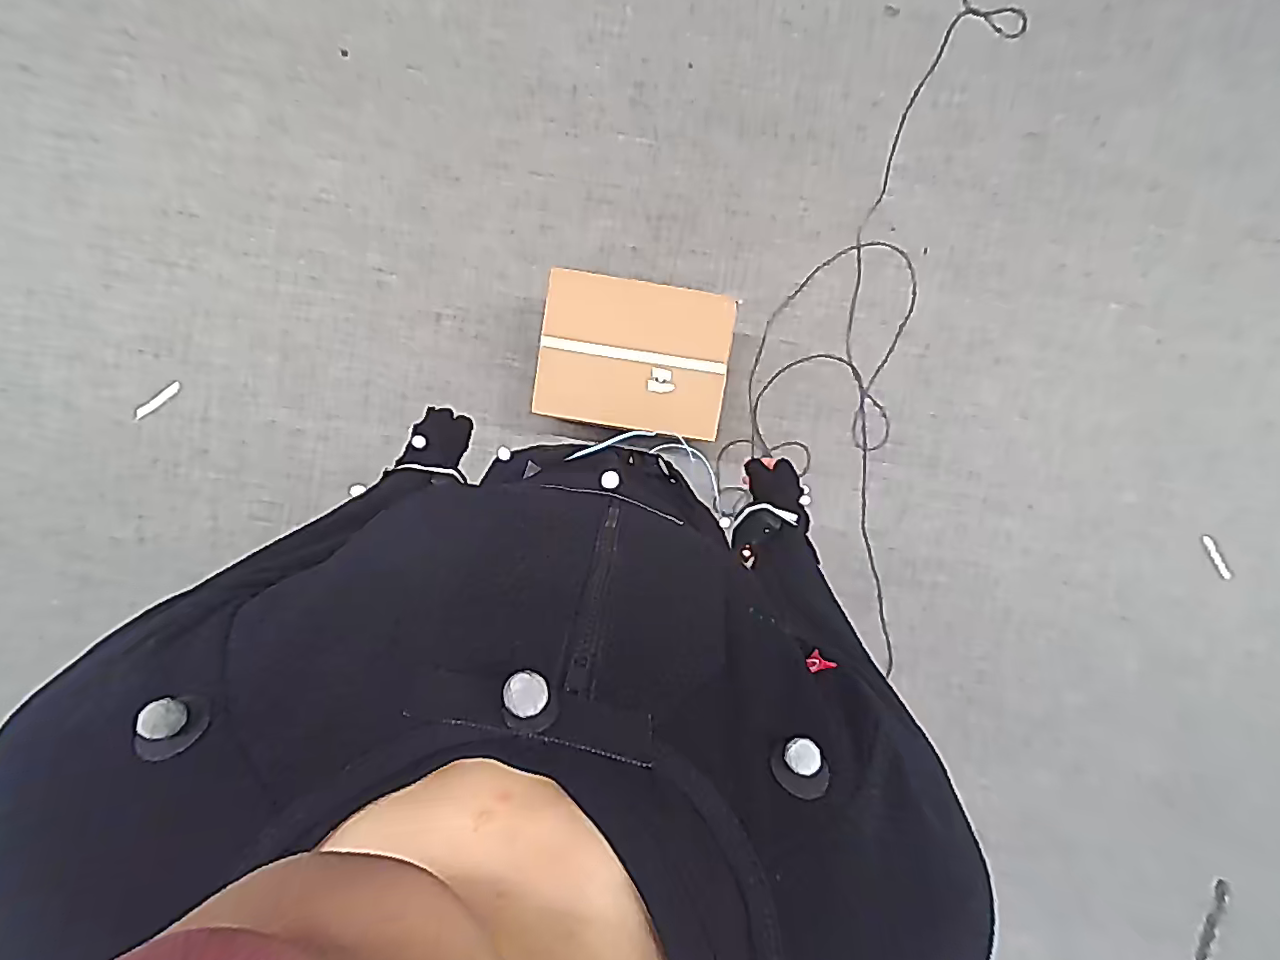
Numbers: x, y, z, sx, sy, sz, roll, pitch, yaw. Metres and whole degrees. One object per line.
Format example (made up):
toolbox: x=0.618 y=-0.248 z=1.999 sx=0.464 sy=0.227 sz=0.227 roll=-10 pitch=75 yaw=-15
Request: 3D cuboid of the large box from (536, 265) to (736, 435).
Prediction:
large box: x=-0.015 y=-0.290 z=1.311 sx=0.408 sy=0.320 sz=0.320 roll=9 pitch=95 yaw=-2
